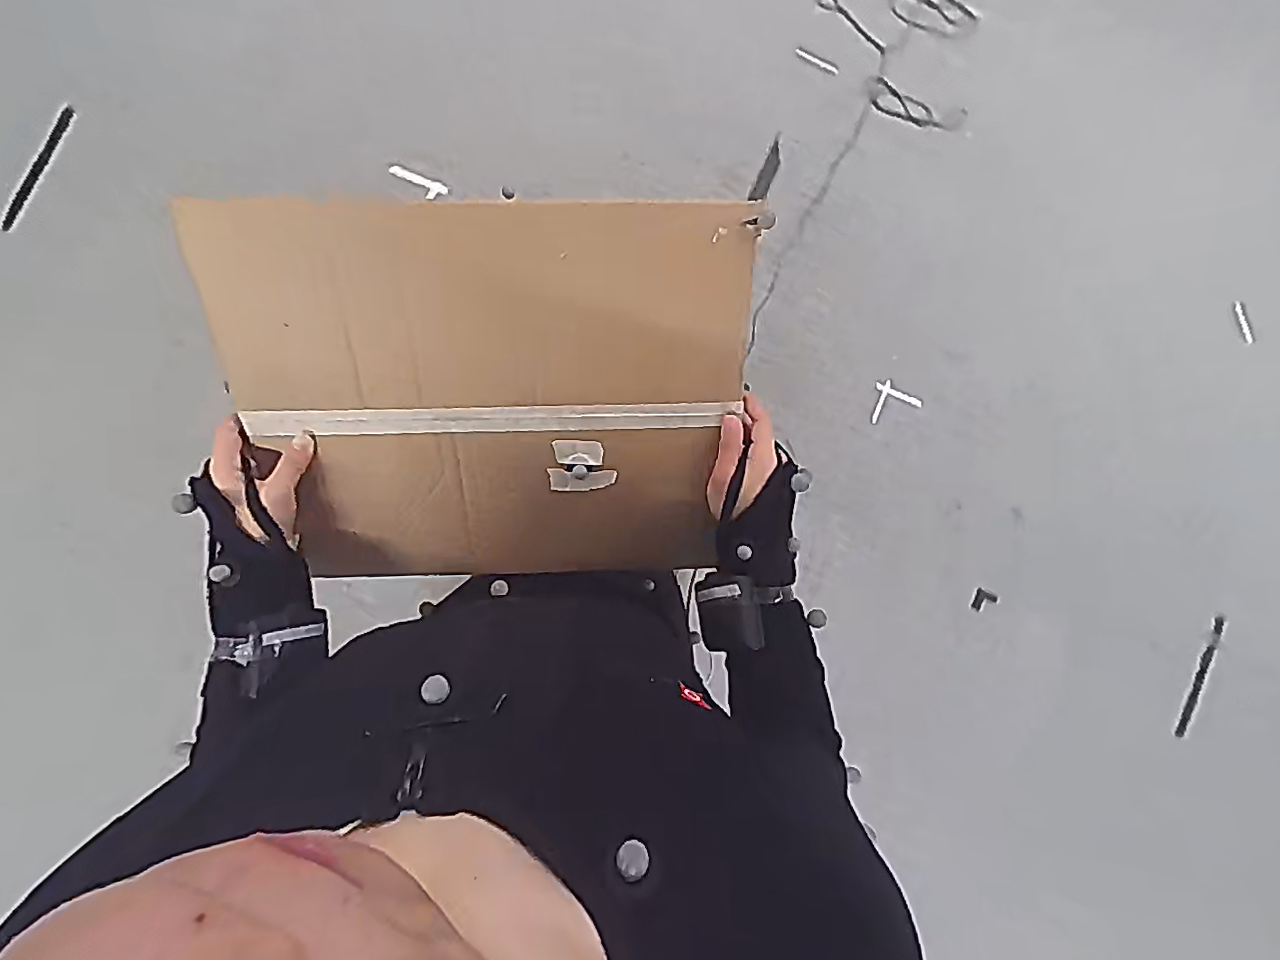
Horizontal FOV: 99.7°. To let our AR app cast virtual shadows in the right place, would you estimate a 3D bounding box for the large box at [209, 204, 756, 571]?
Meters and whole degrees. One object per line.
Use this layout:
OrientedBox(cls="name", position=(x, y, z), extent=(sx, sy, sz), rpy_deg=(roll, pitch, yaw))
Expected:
OrientedBox(cls="large box", position=(-0.120, -0.122, 0.590), extent=(0.408, 0.320, 0.320), rpy_deg=(-1, 117, -3))
